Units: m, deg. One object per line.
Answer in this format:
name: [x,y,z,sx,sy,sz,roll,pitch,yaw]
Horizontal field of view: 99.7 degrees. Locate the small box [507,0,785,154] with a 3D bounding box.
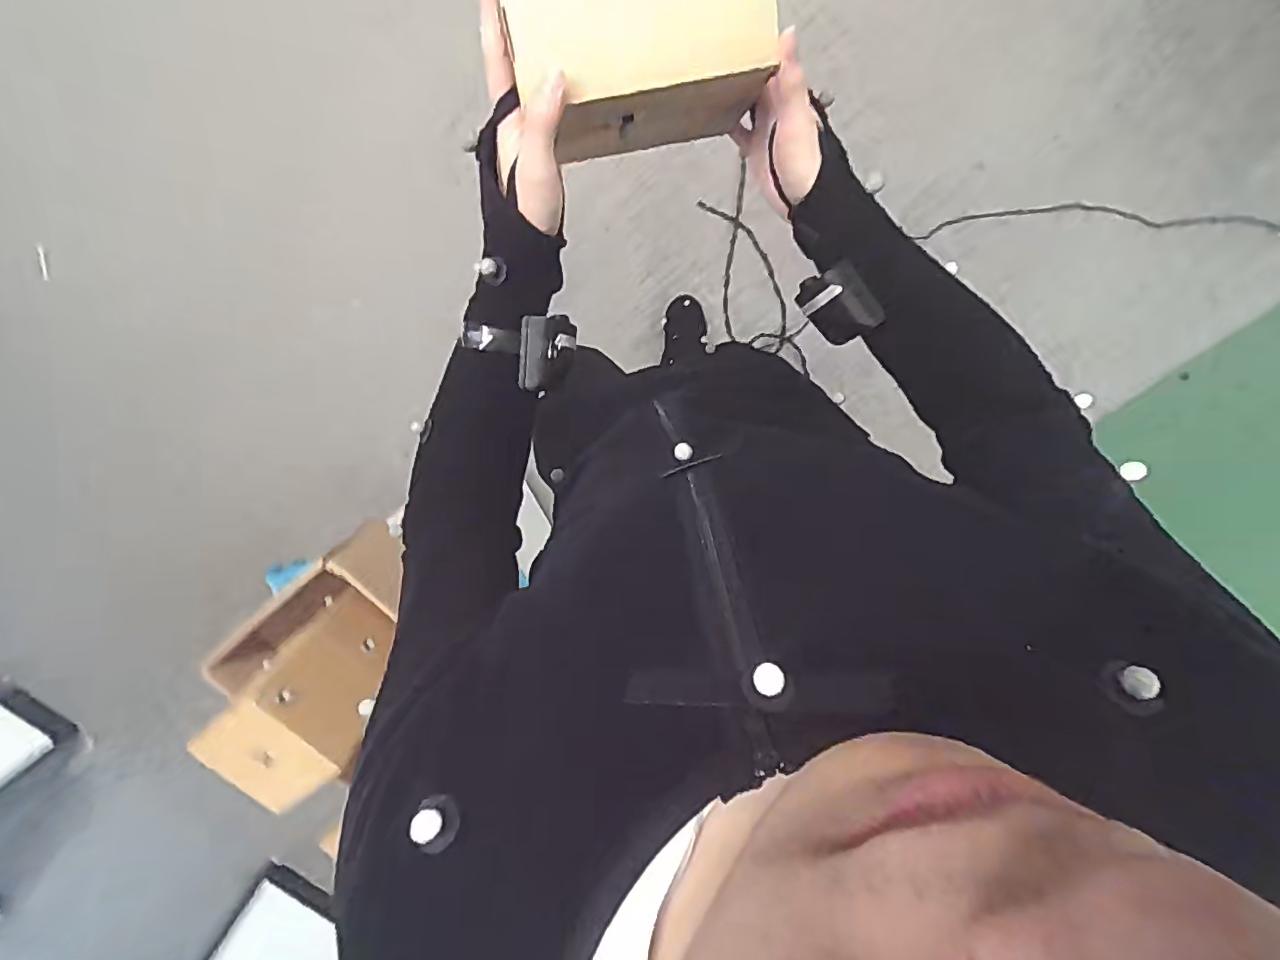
small box: [-0.002,-0.365,0.405,0.179,0.176,0.168,-8,110,2]
